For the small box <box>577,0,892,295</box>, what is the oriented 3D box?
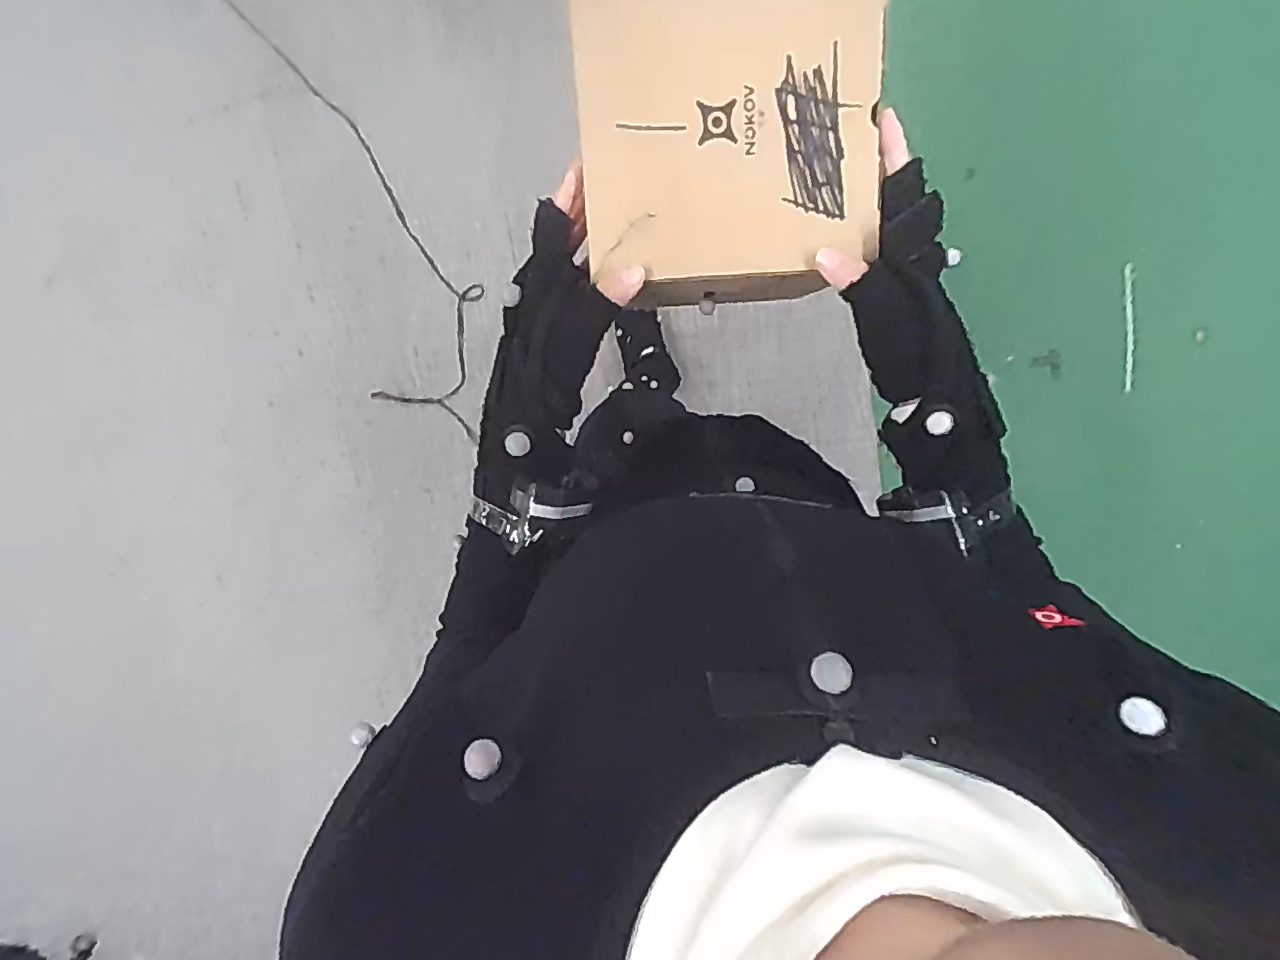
[{"bbox_3d":[0.054,-0.233,0.387,0.179,0.176,0.168,-7,103,0],"label":"small box"}]
